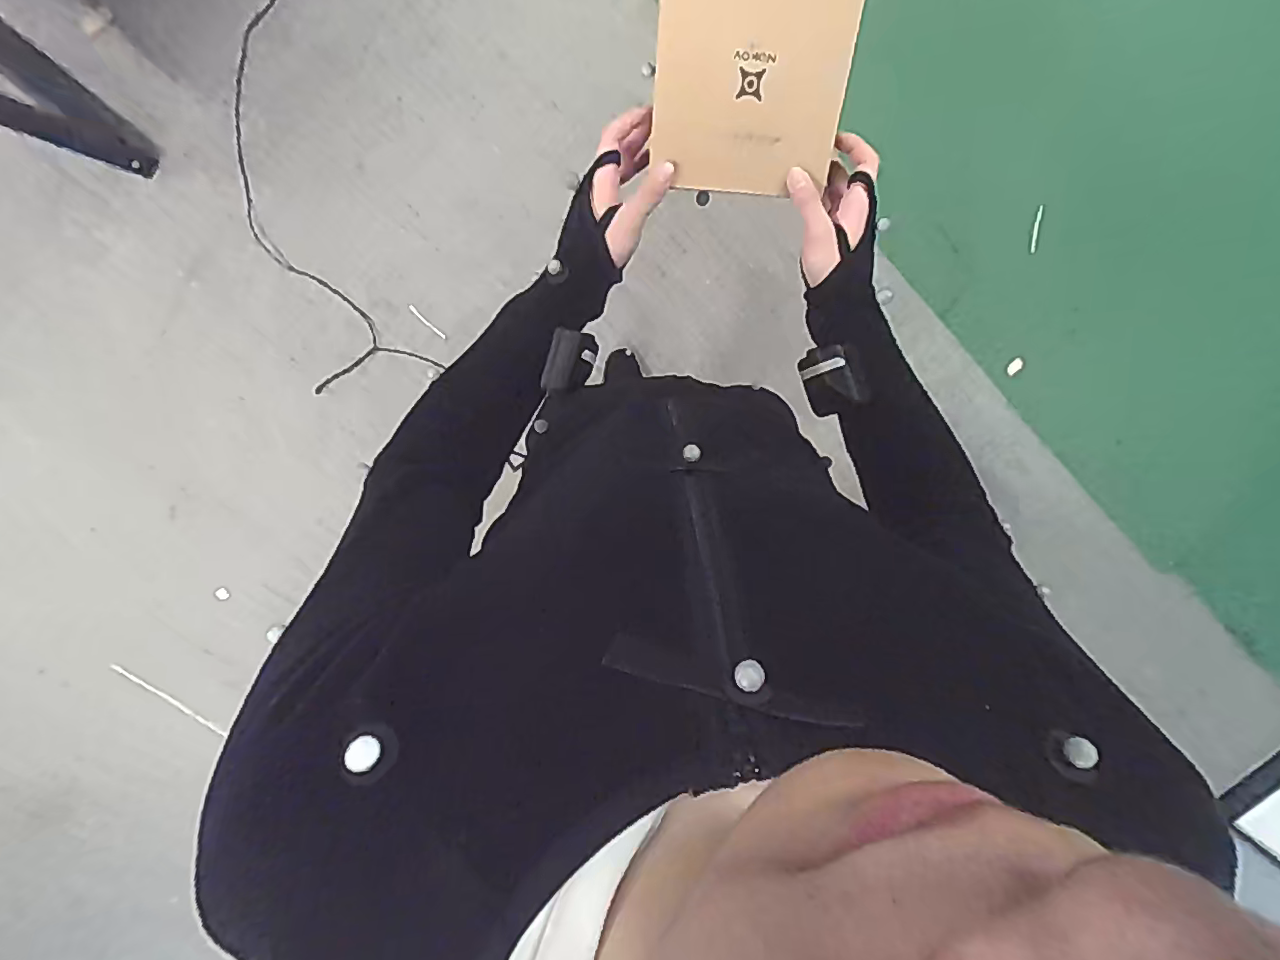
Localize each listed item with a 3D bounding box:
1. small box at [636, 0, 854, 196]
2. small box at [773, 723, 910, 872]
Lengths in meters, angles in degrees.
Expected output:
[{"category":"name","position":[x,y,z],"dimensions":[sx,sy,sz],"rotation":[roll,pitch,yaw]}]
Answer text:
[{"category":"small box","position":[0.085,-0.381,0.523],"dimensions":[0.168,0.176,0.179],"rotation":[4,119,-2]},{"category":"small box","position":[0.401,0.636,1.110],"dimensions":[0.179,0.176,0.168],"rotation":[44,99,-10]}]
